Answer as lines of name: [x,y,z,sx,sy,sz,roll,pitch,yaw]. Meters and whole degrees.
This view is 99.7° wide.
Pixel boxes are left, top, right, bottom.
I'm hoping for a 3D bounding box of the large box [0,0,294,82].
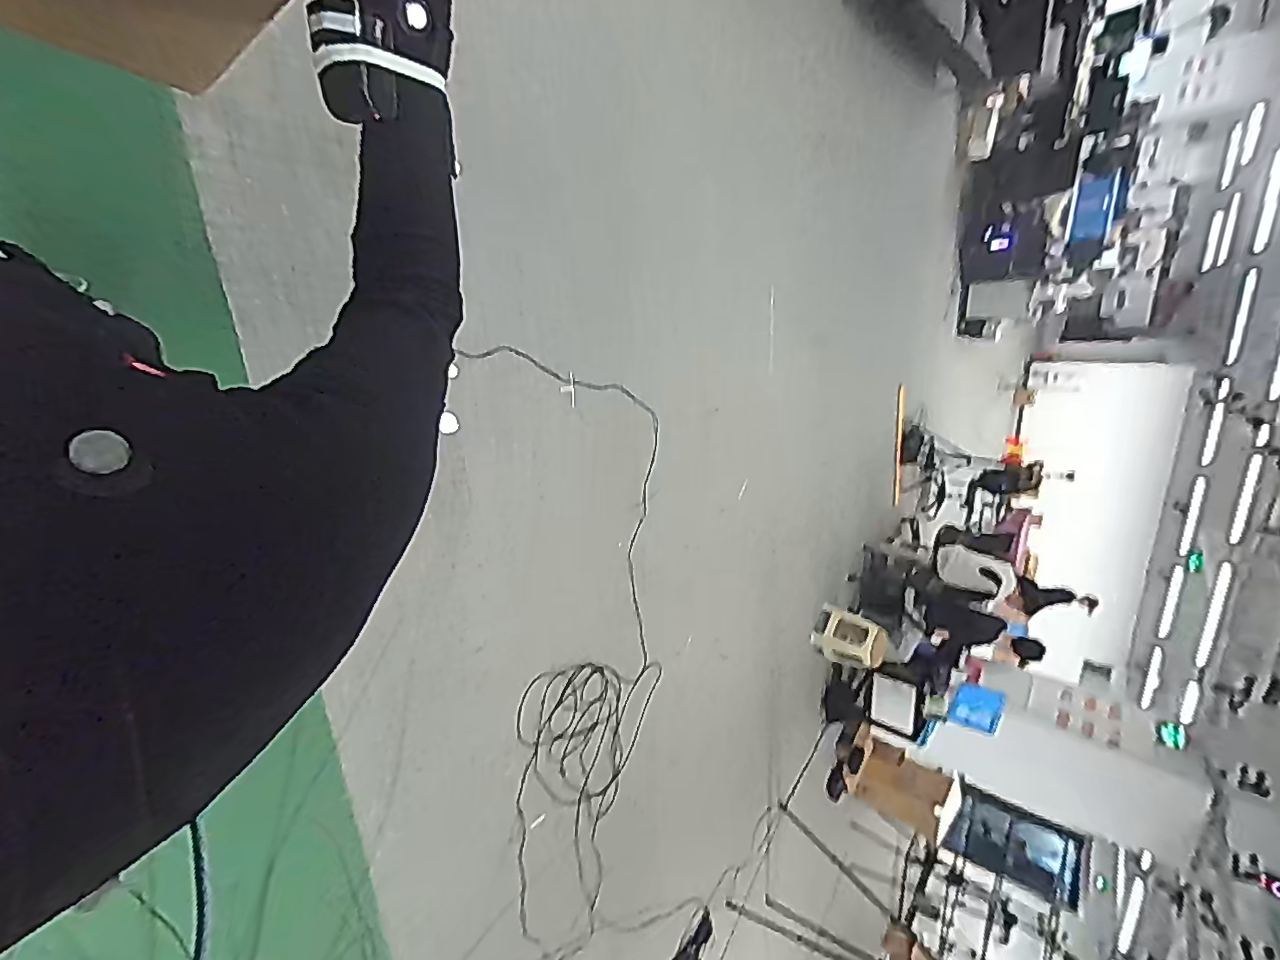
large box: [-0.423,-0.487,0.261,0.408,0.320,0.320,-6,108,-50]
